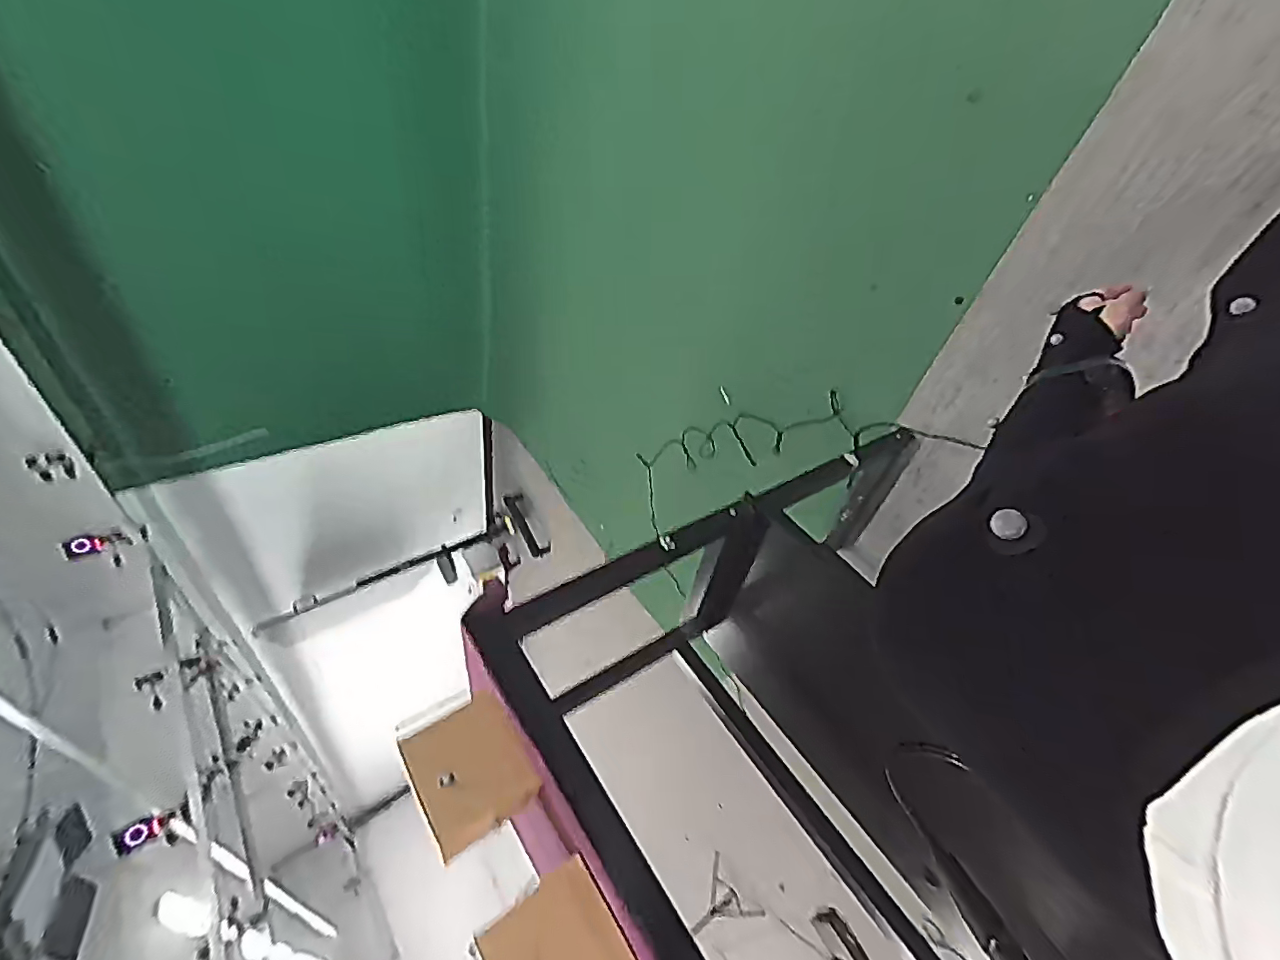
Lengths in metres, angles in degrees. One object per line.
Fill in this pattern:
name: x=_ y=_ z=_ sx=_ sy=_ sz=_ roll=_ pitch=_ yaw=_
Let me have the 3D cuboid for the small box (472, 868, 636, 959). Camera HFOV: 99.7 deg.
small box: x=-0.115 y=0.678 z=0.747 sx=0.179 sy=0.176 sz=0.168 roll=47 pitch=143 yaw=30

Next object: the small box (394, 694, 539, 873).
small box: x=-0.282 y=0.494 z=0.891 sx=0.179 sy=0.176 sz=0.168 roll=49 pitch=142 yaw=28
